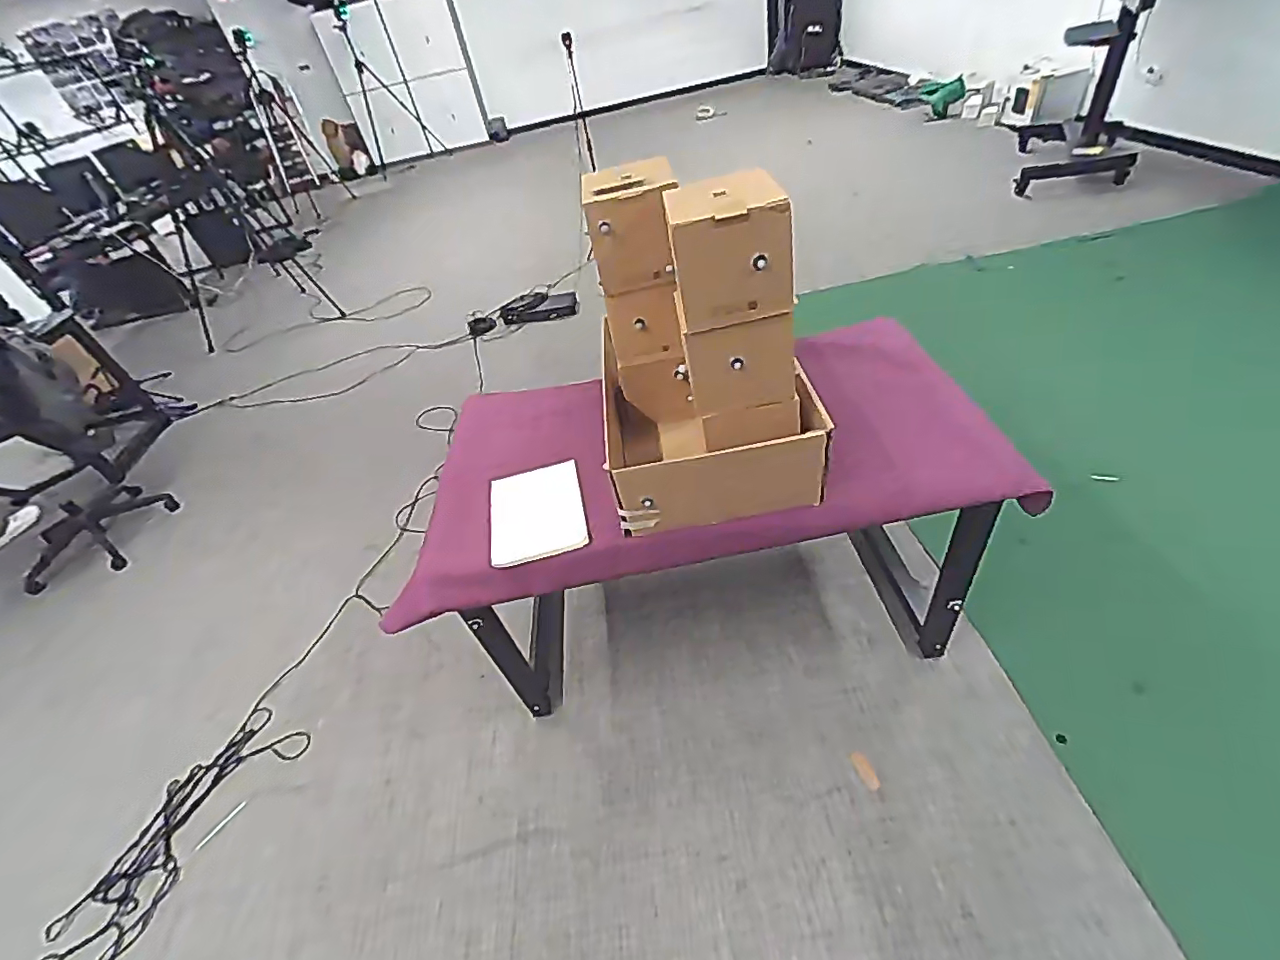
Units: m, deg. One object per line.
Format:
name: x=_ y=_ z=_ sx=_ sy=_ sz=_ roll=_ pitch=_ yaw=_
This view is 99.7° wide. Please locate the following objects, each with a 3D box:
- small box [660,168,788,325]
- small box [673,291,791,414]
small box: x=0.130 y=-0.357 z=0.845 sx=0.168 sy=0.176 sz=0.179 roll=-10 pitch=41 yaw=6
small box: x=0.161 y=-0.240 z=0.954 sx=0.179 sy=0.176 sz=0.168 roll=-11 pitch=41 yaw=7
